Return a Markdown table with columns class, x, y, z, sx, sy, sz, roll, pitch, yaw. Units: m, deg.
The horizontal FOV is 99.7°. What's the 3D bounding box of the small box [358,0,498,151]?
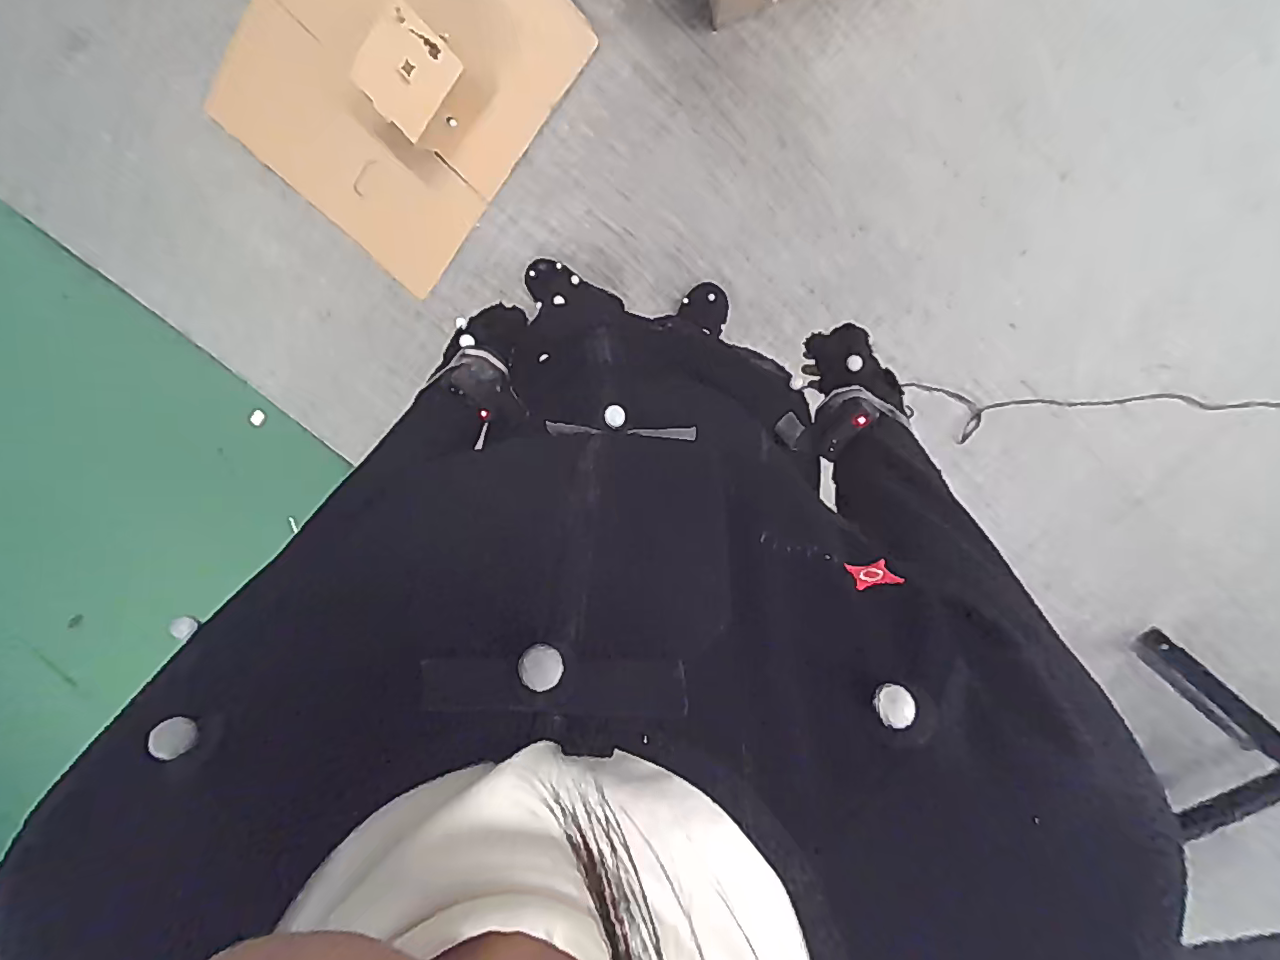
| class | x | y | z | sx | sy | sz | roll | pitch | yaw |
| --- | --- | --- | --- | --- | --- | --- | --- | --- | --- |
| small box | -0.417 | -0.804 | 1.092 | 0.168 | 0.176 | 0.179 | 42 | 114 | -9 |
